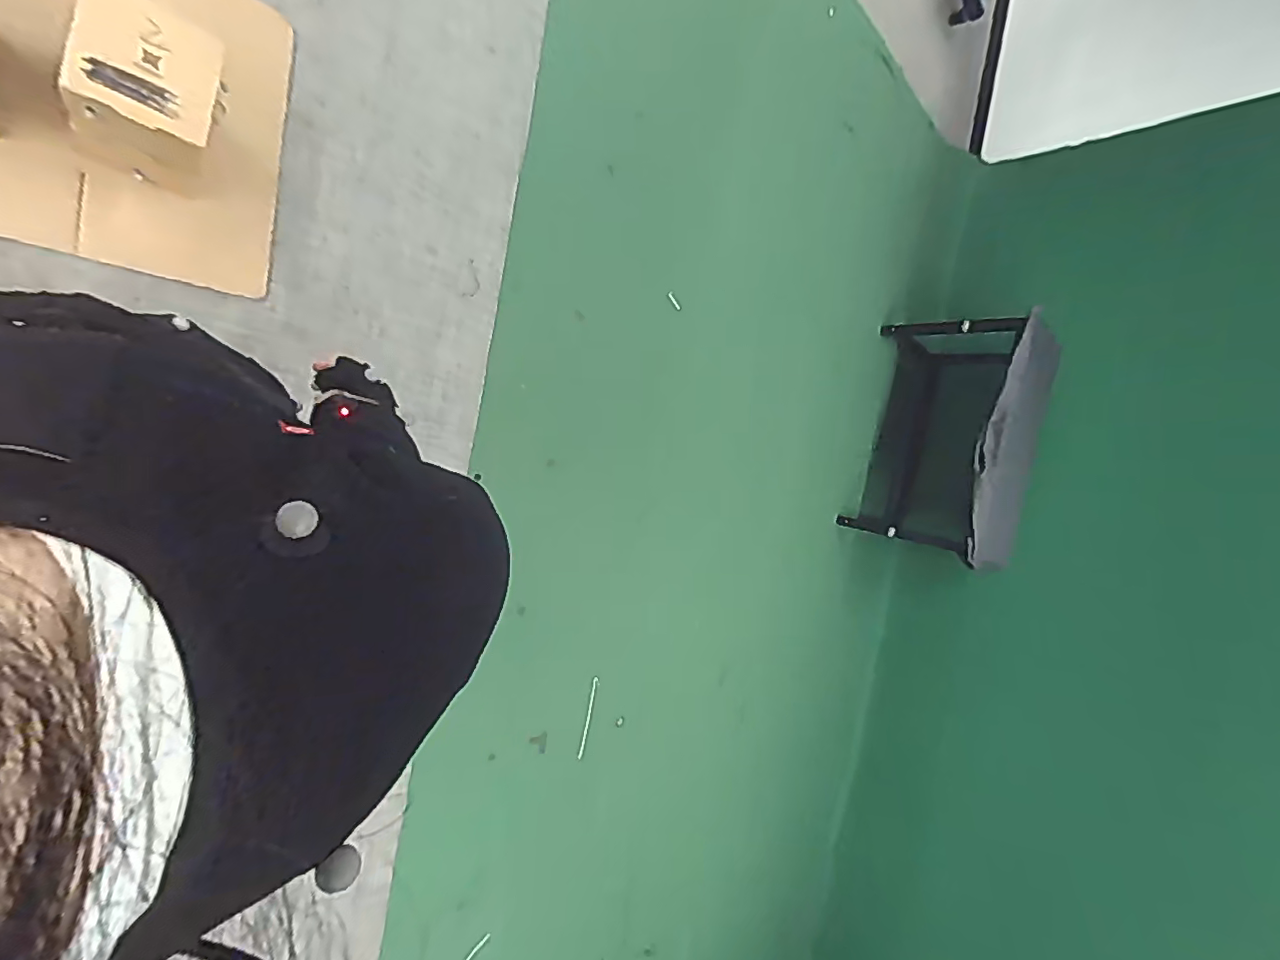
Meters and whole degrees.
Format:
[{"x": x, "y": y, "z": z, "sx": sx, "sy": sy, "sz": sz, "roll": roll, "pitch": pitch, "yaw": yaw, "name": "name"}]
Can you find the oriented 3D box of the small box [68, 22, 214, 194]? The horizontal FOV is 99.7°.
[{"x": -0.908, "y": -0.665, "z": 0.993, "sx": 0.168, "sy": 0.176, "sz": 0.179, "roll": 12, "pitch": 91, "yaw": -42, "name": "small box"}]
